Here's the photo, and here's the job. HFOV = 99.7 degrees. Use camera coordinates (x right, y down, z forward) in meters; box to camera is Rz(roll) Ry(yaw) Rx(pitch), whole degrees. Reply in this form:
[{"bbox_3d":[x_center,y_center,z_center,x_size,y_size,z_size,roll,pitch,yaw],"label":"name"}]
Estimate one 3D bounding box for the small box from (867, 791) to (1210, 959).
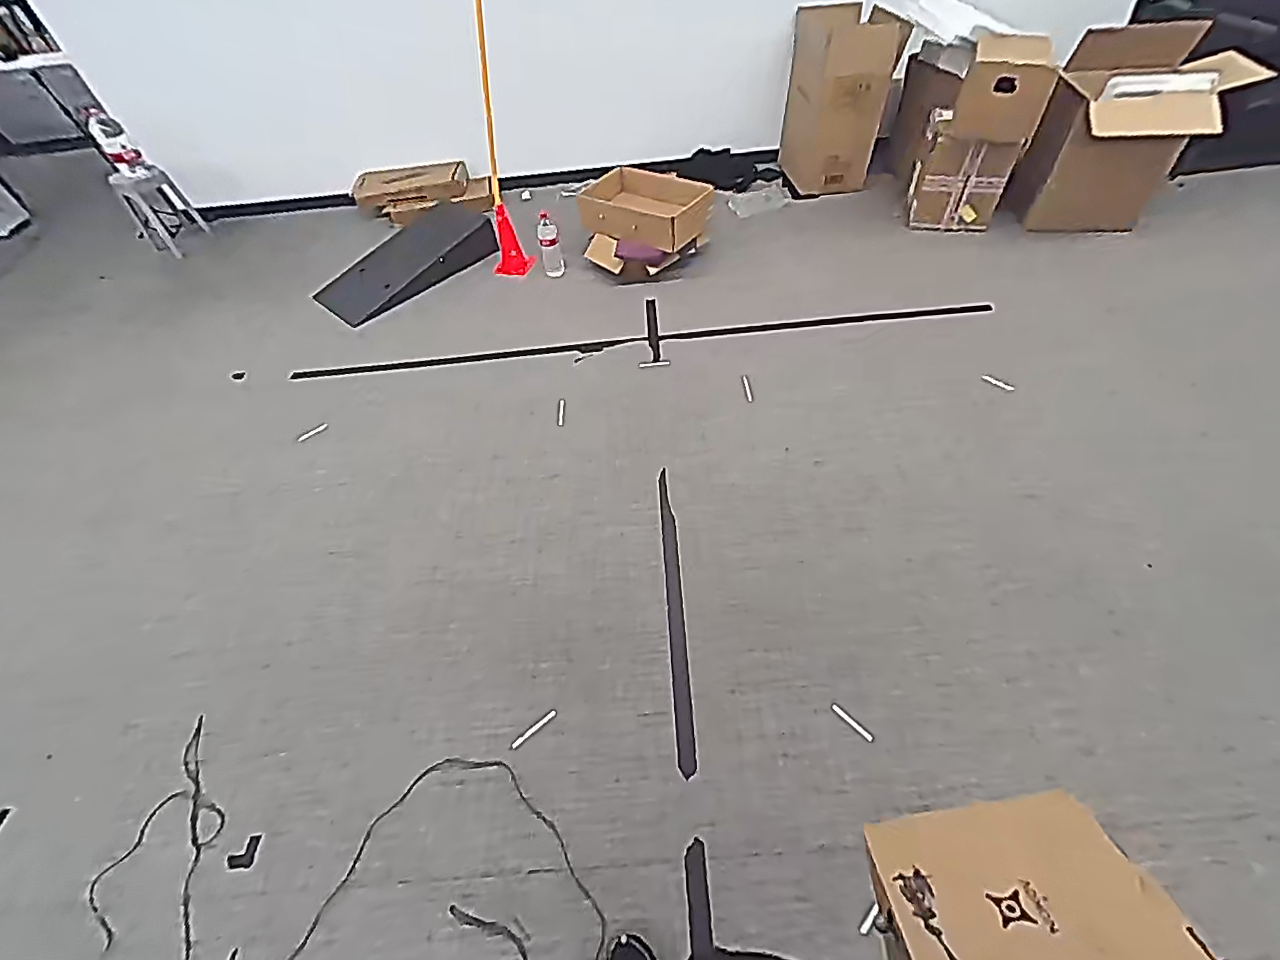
[{"bbox_3d":[0.297,0.381,0.413,0.179,0.176,0.168,-14,16,7],"label":"small box"}]
